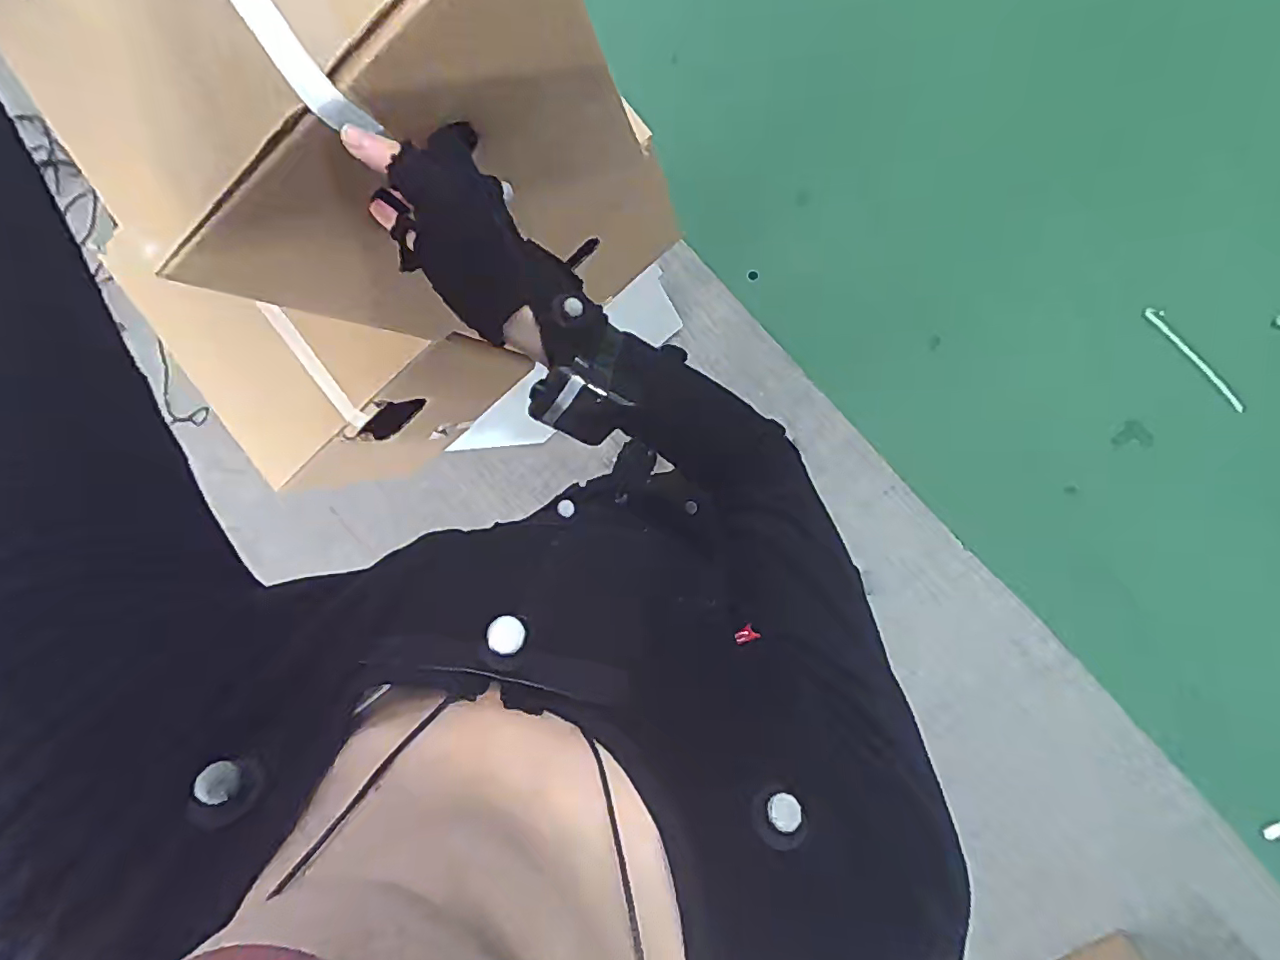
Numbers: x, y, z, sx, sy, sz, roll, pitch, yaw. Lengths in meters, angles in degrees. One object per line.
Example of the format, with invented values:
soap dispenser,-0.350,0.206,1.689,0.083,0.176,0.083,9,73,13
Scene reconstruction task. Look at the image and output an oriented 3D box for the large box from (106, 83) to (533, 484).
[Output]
large box,-0.442,-0.250,0.819,0.320,0.320,0.408,-39,87,11
